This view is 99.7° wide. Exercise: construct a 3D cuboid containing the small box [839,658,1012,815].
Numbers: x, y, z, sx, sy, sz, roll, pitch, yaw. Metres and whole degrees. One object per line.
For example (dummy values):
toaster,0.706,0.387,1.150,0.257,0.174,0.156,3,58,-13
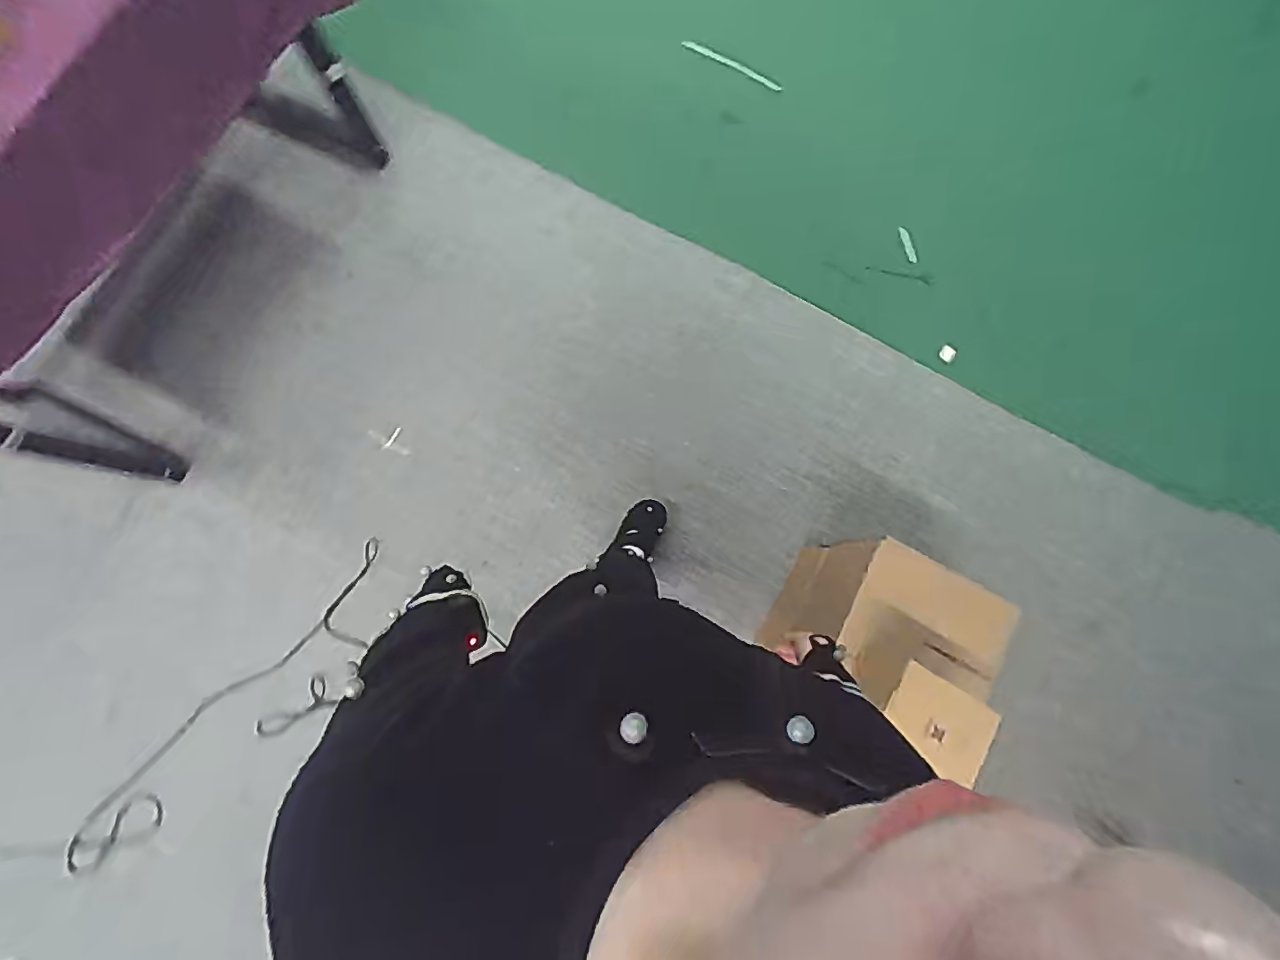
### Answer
small box,0.481,0.427,0.939,0.179,0.176,0.168,32,79,3
